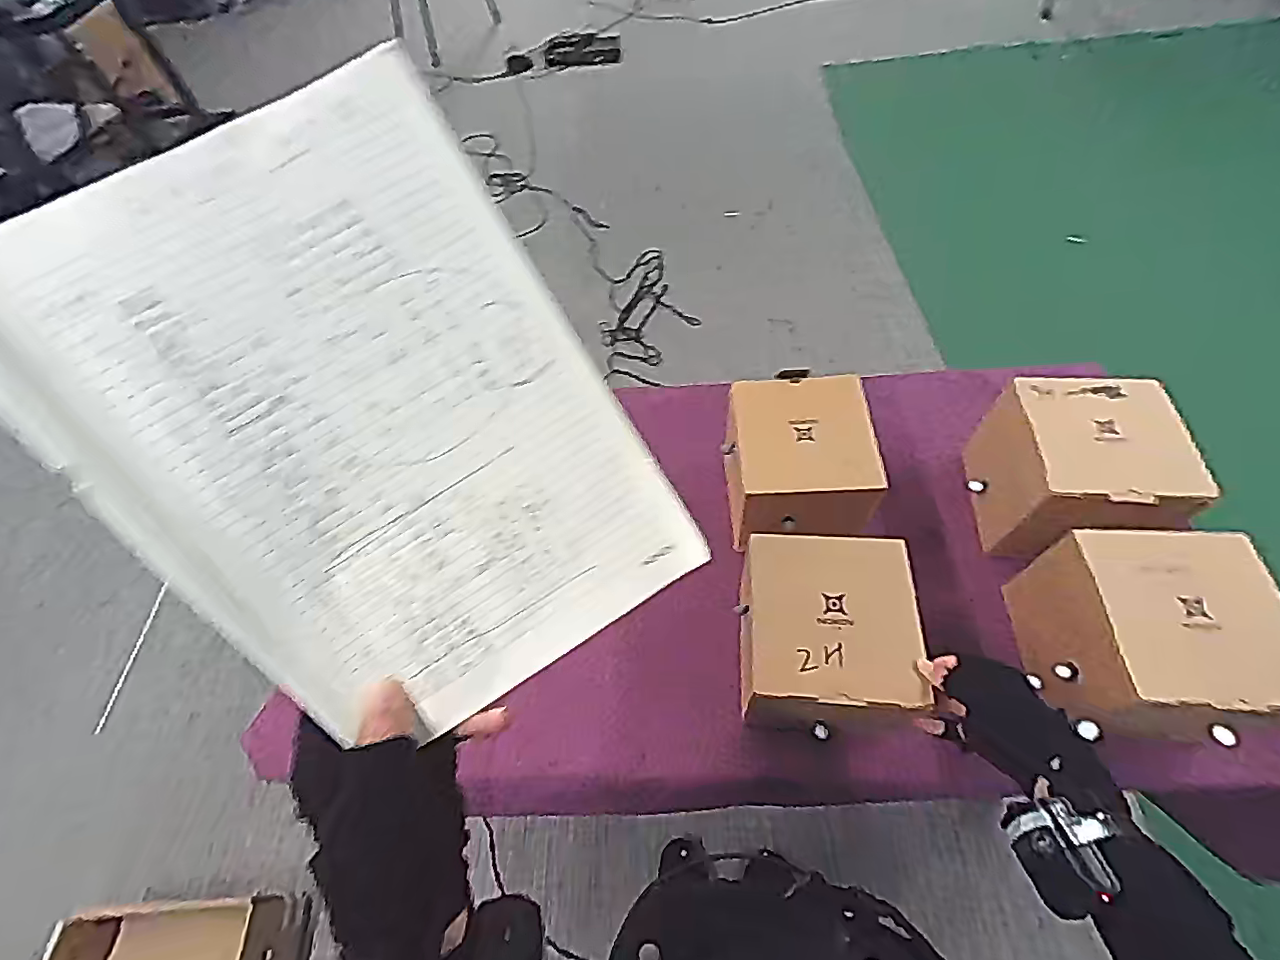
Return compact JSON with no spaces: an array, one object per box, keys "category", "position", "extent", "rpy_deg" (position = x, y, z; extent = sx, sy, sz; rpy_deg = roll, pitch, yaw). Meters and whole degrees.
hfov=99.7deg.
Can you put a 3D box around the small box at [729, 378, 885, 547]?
[{"category":"small box","position":[0.212,-0.014,0.740],"extent":[0.168,0.176,0.179],"rpy_deg":[-3,57,5]}]

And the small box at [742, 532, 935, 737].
[{"category":"small box","position":[0.204,0.177,0.614],"extent":[0.168,0.176,0.179],"rpy_deg":[2,57,8]}]

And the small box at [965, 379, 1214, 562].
[{"category":"small box","position":[0.549,-0.008,0.695],"extent":[0.168,0.176,0.179],"rpy_deg":[4,59,8]}]
